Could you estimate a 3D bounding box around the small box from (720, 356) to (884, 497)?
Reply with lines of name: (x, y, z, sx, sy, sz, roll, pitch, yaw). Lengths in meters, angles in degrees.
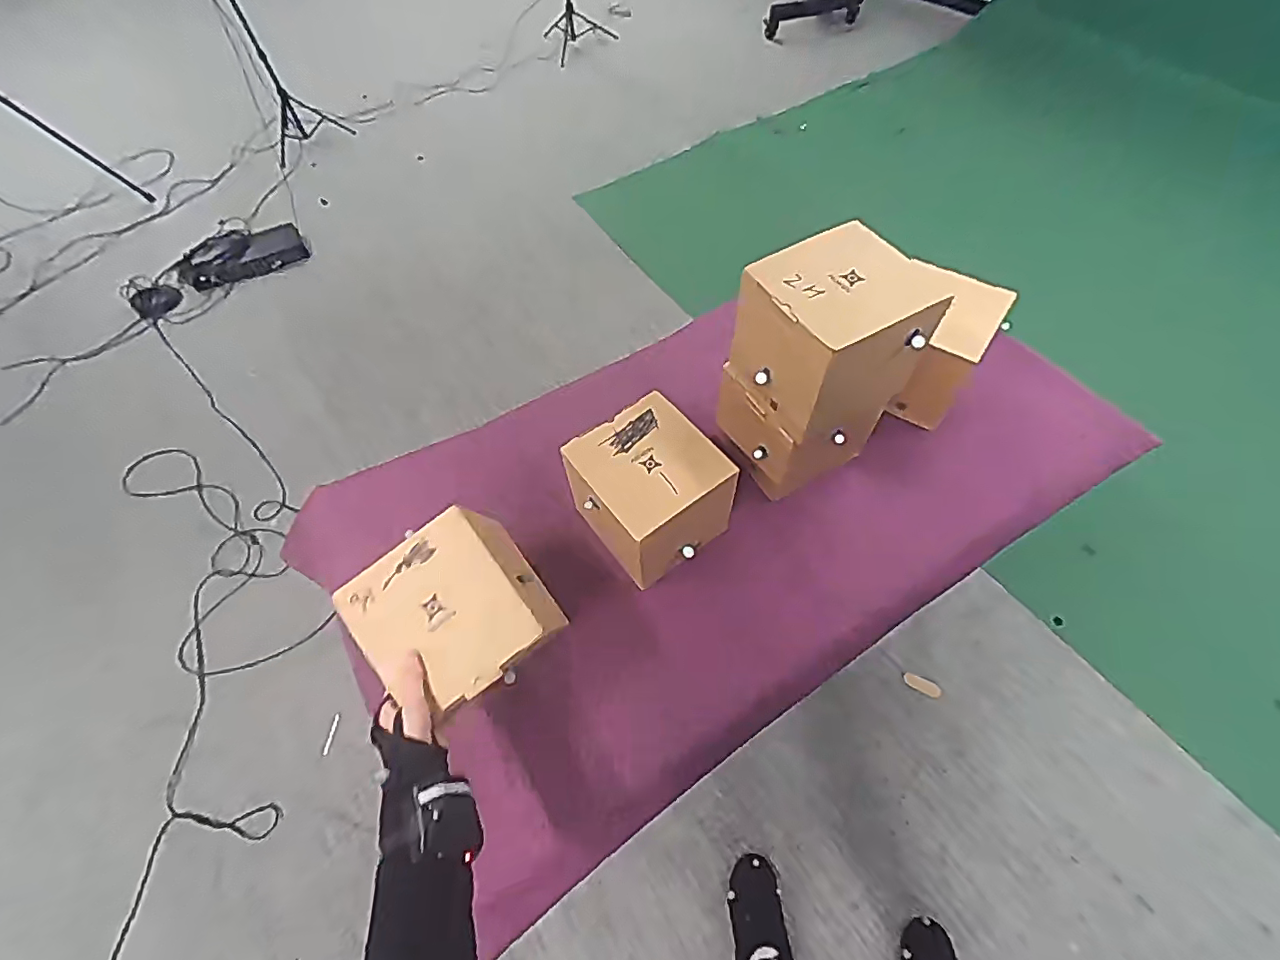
small box: (0.235, -0.102, 0.826, 0.179, 0.176, 0.168, -26, 61, -13)

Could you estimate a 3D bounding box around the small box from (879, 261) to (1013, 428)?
small box: (0.459, -0.216, 0.887, 0.168, 0.176, 0.179, 32, 65, 21)

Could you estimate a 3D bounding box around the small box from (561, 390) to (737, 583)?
small box: (0.011, 0.013, 0.763, 0.168, 0.176, 0.179, -33, 63, -17)

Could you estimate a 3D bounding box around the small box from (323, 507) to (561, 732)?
small box: (-0.215, 0.152, 0.639, 0.168, 0.176, 0.179, -38, 81, -4)

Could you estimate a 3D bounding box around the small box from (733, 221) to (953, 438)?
small box: (0.237, -0.185, 0.684, 0.179, 0.176, 0.168, -26, 60, -13)
